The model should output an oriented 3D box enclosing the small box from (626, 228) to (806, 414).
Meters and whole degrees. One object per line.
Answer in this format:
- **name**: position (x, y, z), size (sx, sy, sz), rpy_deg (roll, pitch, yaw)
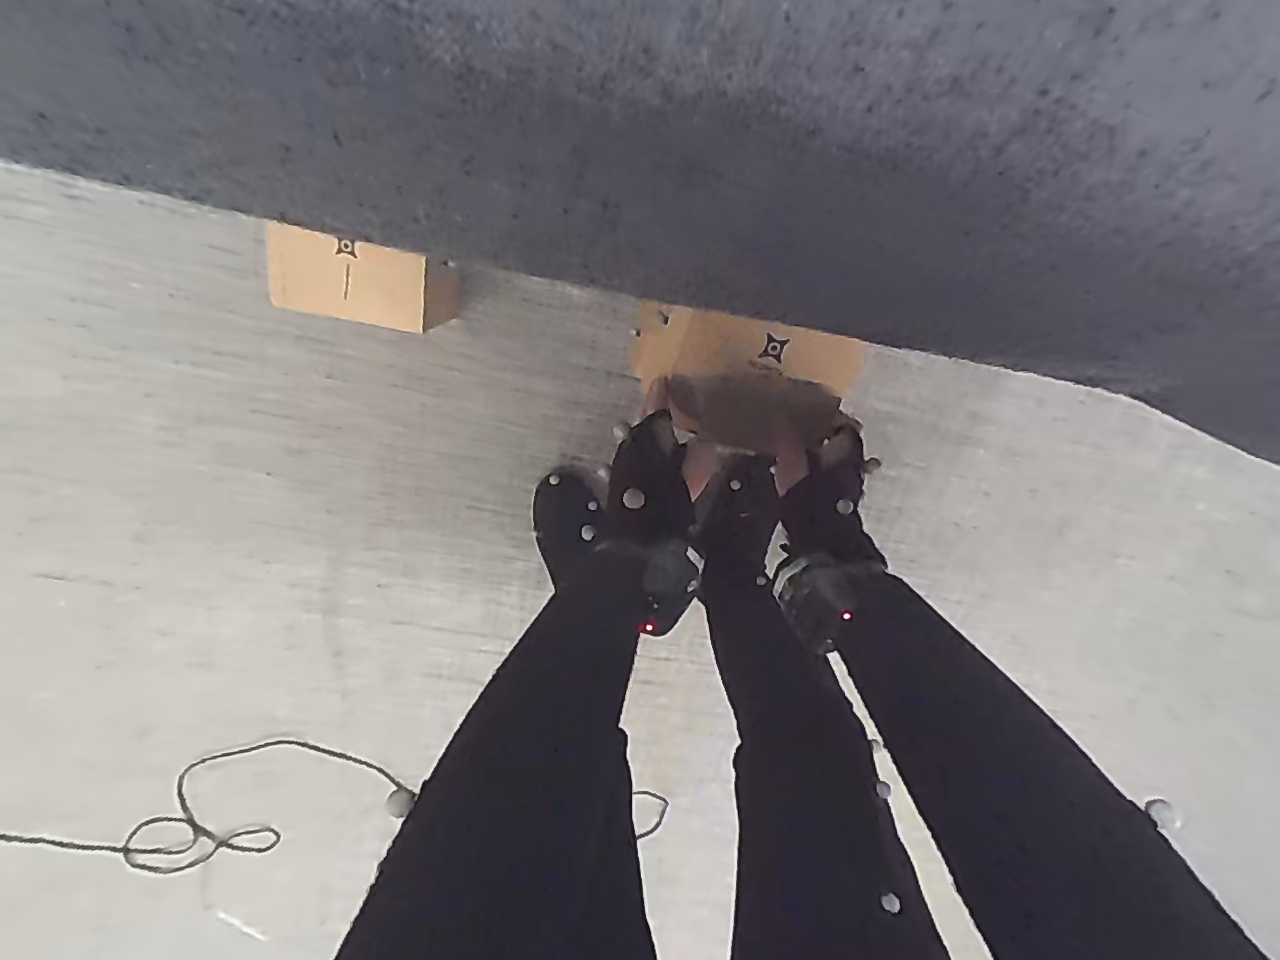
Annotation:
- **small box**: position (0.083, -0.208, 0.706), size (0.168, 0.176, 0.179), rpy_deg (14, 109, -12)
